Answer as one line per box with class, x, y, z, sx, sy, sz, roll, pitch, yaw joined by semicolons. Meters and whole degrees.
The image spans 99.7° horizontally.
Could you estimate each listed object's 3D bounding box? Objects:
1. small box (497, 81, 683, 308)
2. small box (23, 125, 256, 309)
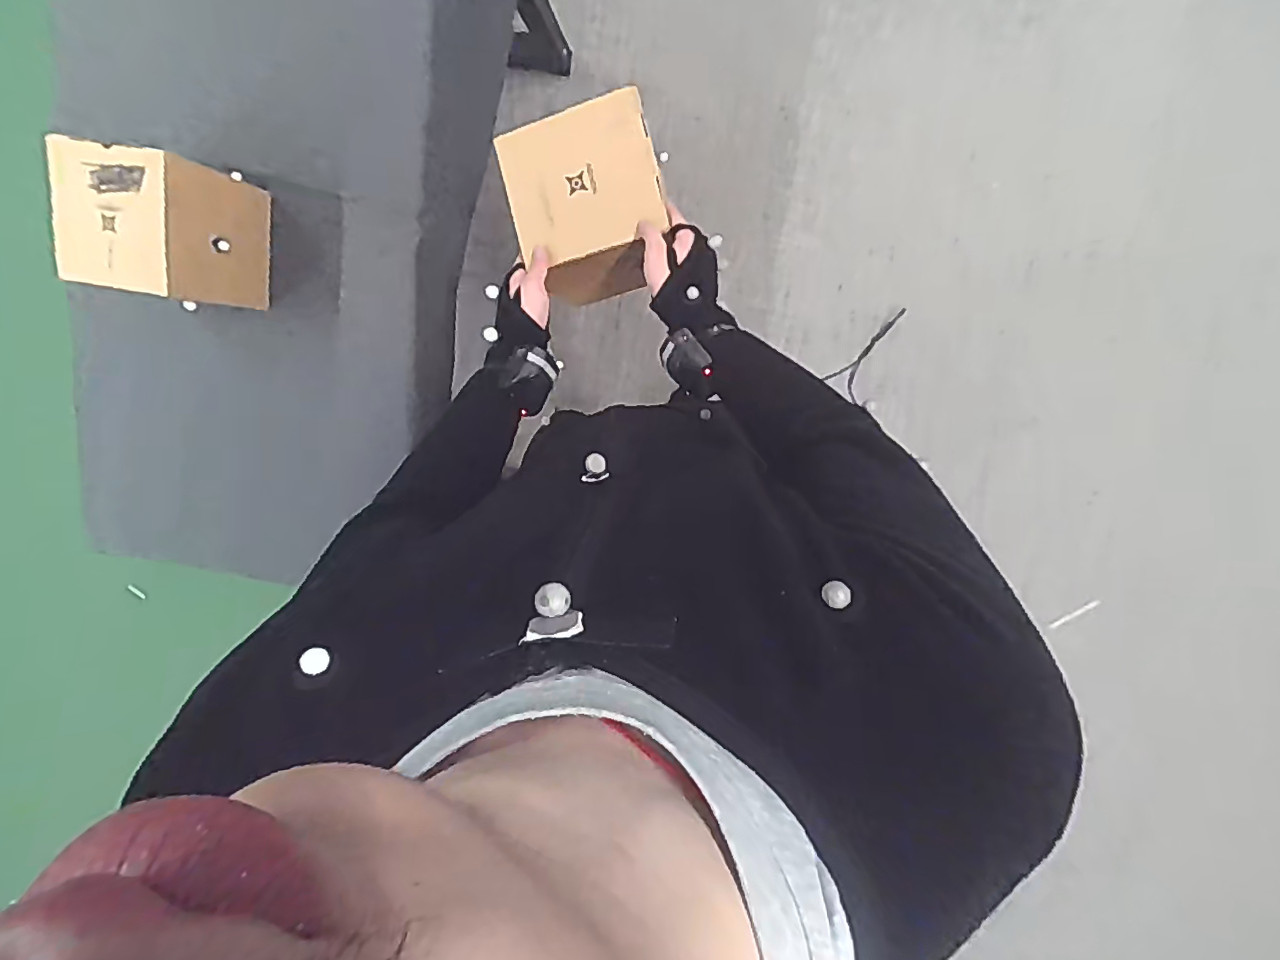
small box;-0.048;-0.335;0.674;0.179;0.176;0.168;-14;89;11
small box;-0.660;-0.342;0.735;0.168;0.176;0.179;11;102;4
